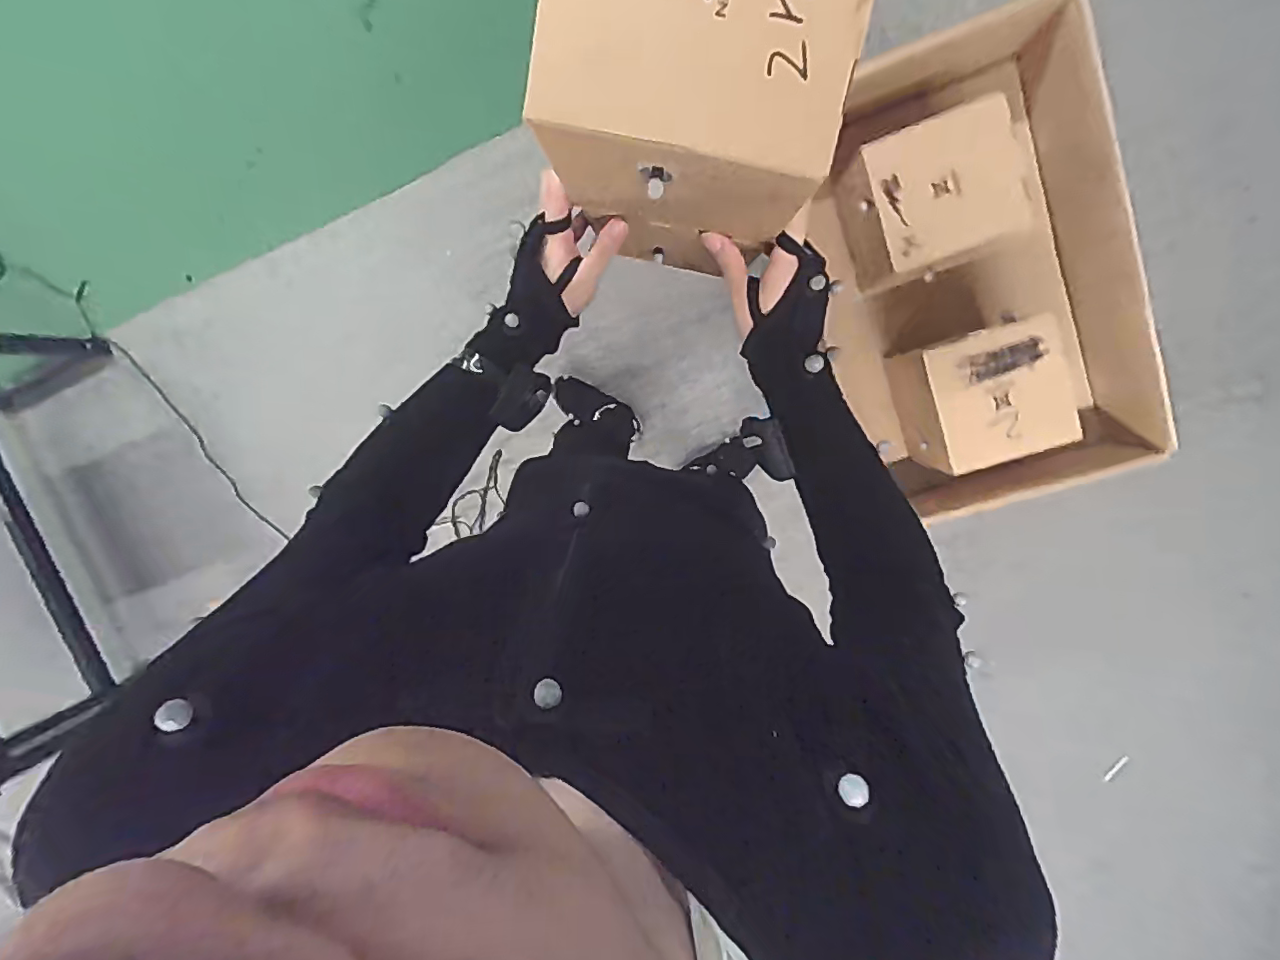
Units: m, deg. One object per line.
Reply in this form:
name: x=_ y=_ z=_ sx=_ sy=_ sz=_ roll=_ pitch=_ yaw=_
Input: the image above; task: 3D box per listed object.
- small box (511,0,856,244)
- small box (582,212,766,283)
small box: x=0.032 y=-0.275 z=0.366 sx=0.179 sy=0.176 sz=0.168 roll=11 pitch=102 yaw=1
small box: x=0.045 y=-0.309 z=0.528 sx=0.168 sy=0.176 sz=0.179 roll=12 pitch=102 yaw=0
